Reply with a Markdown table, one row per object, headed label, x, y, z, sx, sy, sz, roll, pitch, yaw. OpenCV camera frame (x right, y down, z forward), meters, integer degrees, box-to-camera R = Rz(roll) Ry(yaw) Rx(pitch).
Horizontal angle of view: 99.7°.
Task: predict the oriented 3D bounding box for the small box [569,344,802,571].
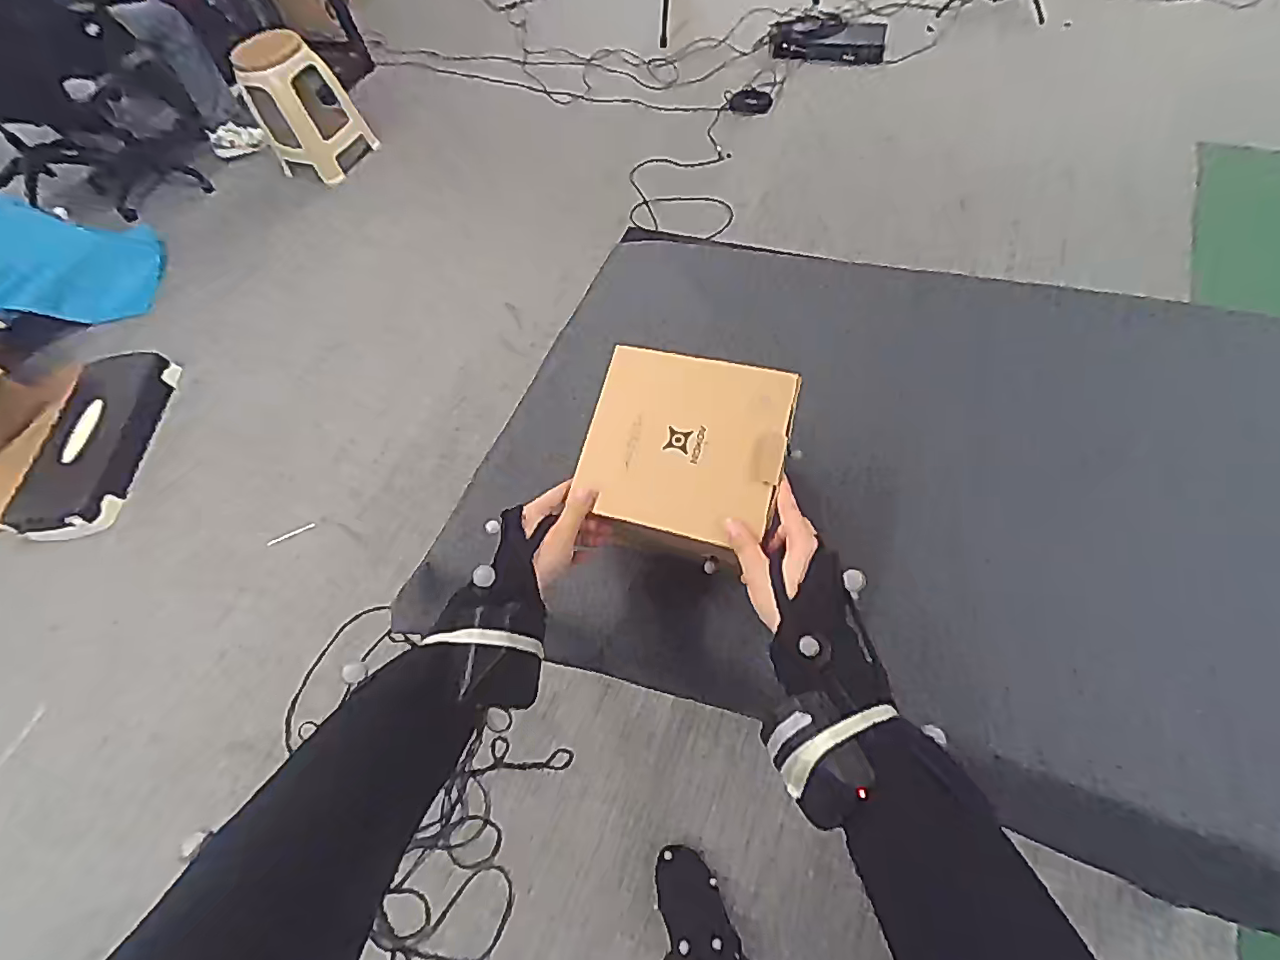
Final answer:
| label | x | y | z | sx | sy | sz | roll | pitch | yaw |
| --- | --- | --- | --- | --- | --- | --- | --- | --- | --- |
| small box | 0.054 | -0.012 | 0.549 | 0.179 | 0.176 | 0.168 | 12 | 73 | 15 |
